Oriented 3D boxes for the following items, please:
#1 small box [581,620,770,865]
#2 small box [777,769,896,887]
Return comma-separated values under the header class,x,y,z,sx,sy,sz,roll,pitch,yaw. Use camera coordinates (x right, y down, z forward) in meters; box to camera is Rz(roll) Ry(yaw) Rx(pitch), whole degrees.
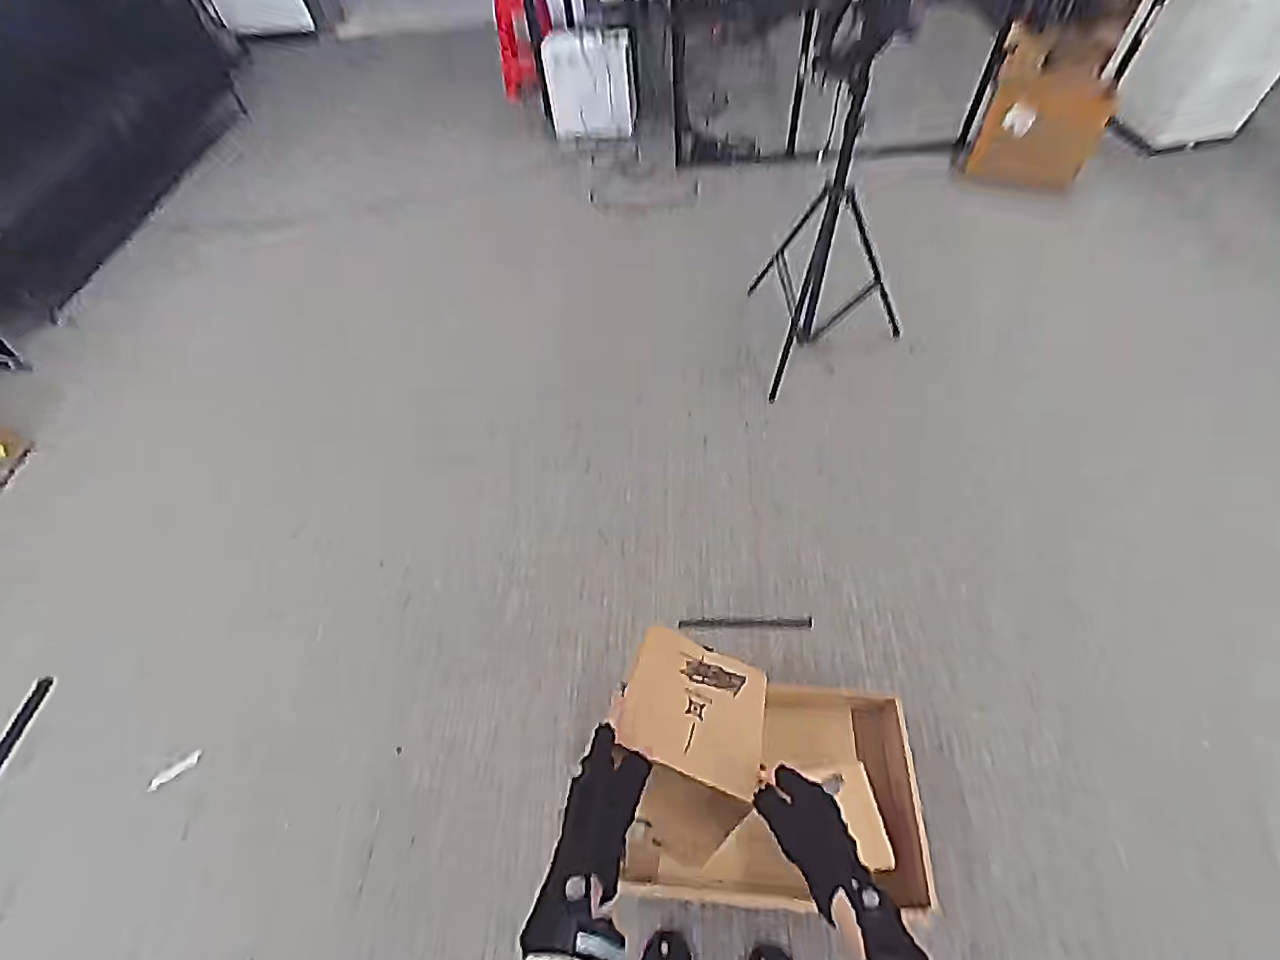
class,x,y,z,sx,sy,sz,roll,pitch,yaw
small box,0.043,0.313,0.656,0.168,0.176,0.179,23,32,3
small box,0.389,0.706,1.102,0.168,0.176,0.179,-9,55,-1
